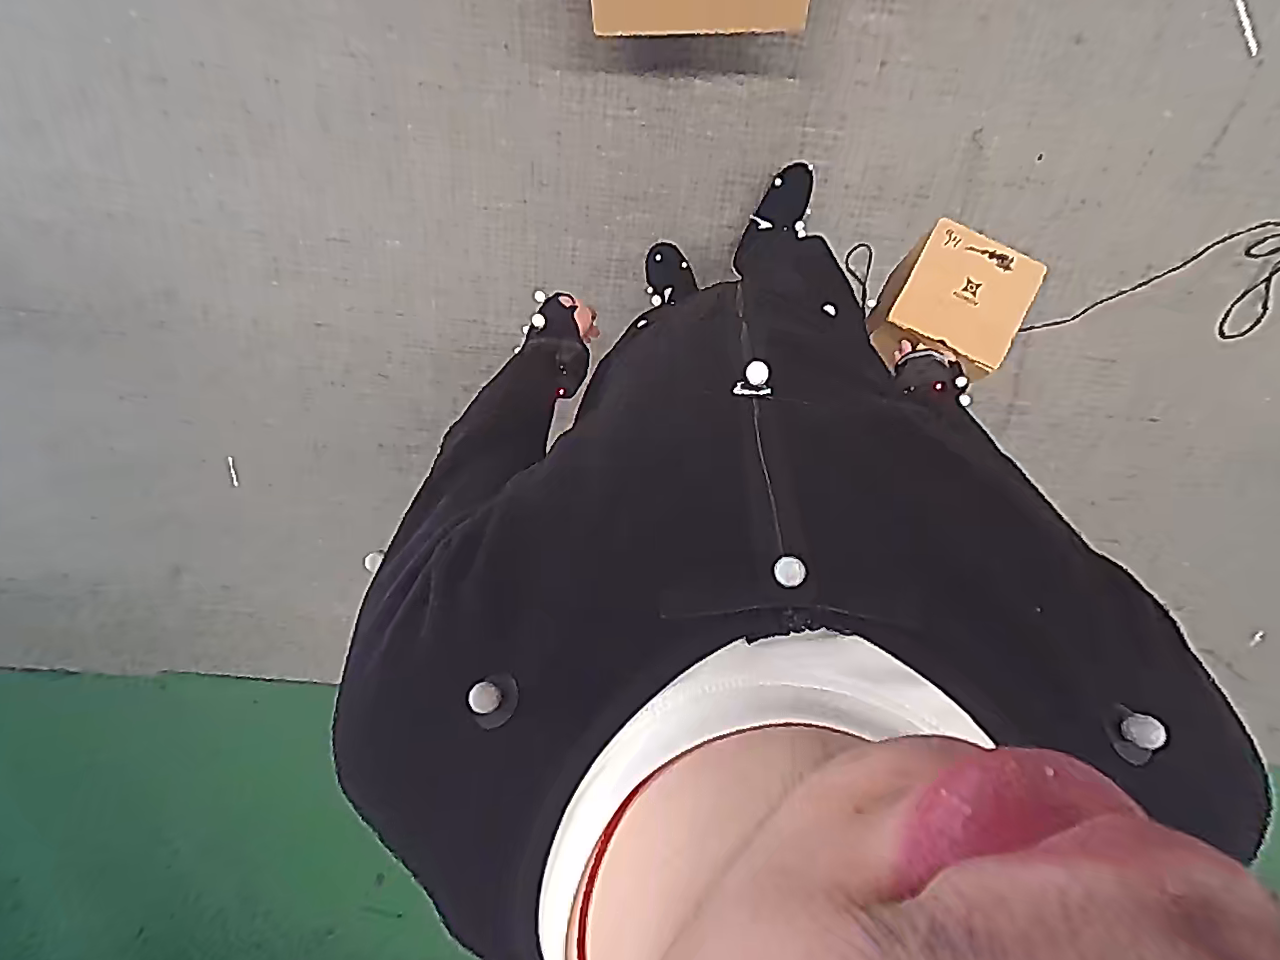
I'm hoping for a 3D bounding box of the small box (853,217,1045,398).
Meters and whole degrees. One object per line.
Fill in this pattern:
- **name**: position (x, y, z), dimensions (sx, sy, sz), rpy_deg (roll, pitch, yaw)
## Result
- **small box**: position (0.453, -0.249, 0.827), dimensions (0.168, 0.176, 0.179), rpy_deg (30, 85, 4)
